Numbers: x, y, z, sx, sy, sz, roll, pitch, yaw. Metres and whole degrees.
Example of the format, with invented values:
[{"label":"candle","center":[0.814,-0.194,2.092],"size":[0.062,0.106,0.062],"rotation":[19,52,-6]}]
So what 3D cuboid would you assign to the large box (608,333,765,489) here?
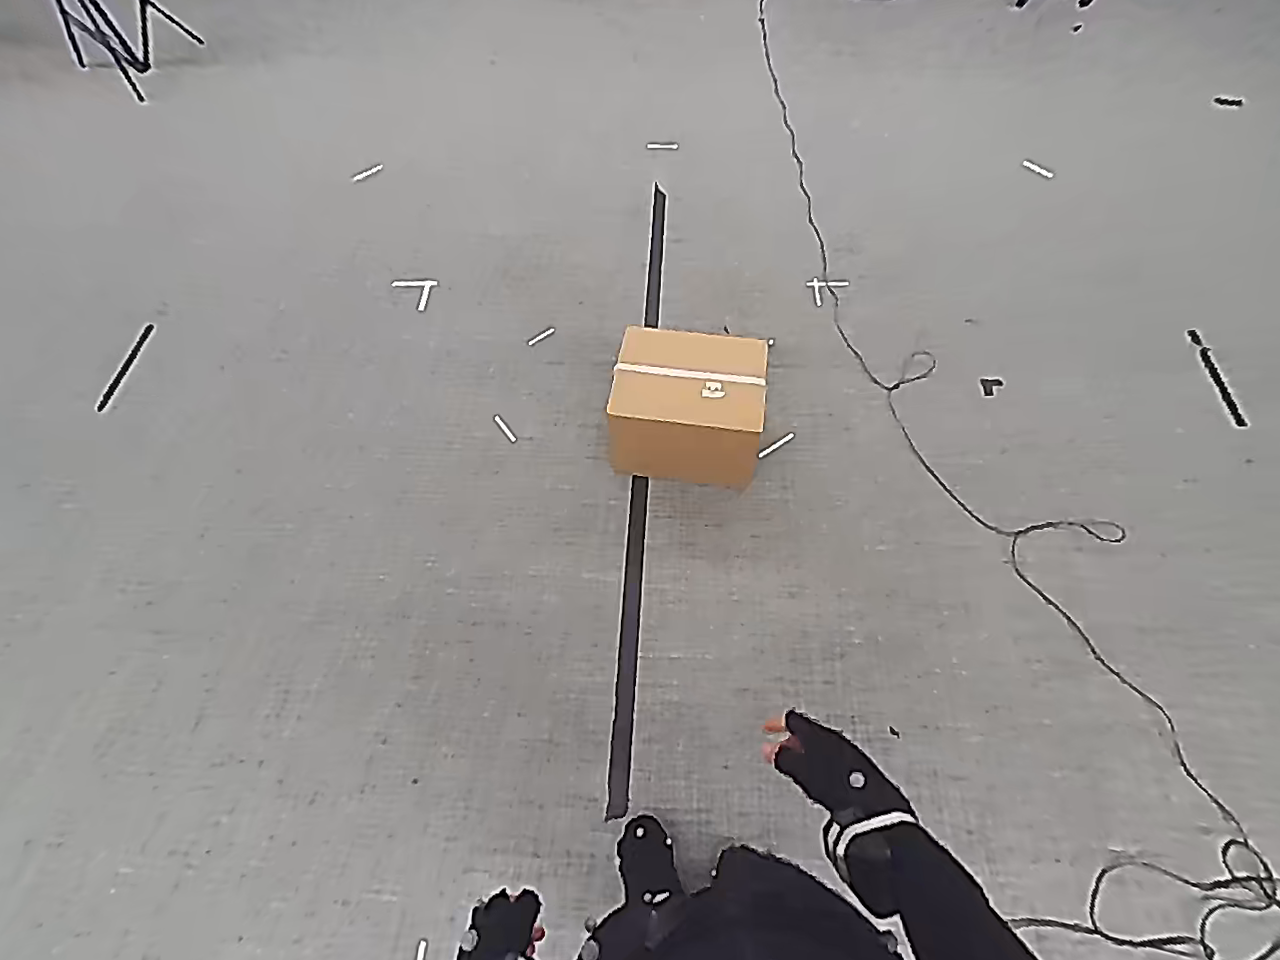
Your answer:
[{"label":"large box","center":[0.133,-0.195,1.584],"size":[0.408,0.320,0.320],"rotation":[8,61,5]}]
